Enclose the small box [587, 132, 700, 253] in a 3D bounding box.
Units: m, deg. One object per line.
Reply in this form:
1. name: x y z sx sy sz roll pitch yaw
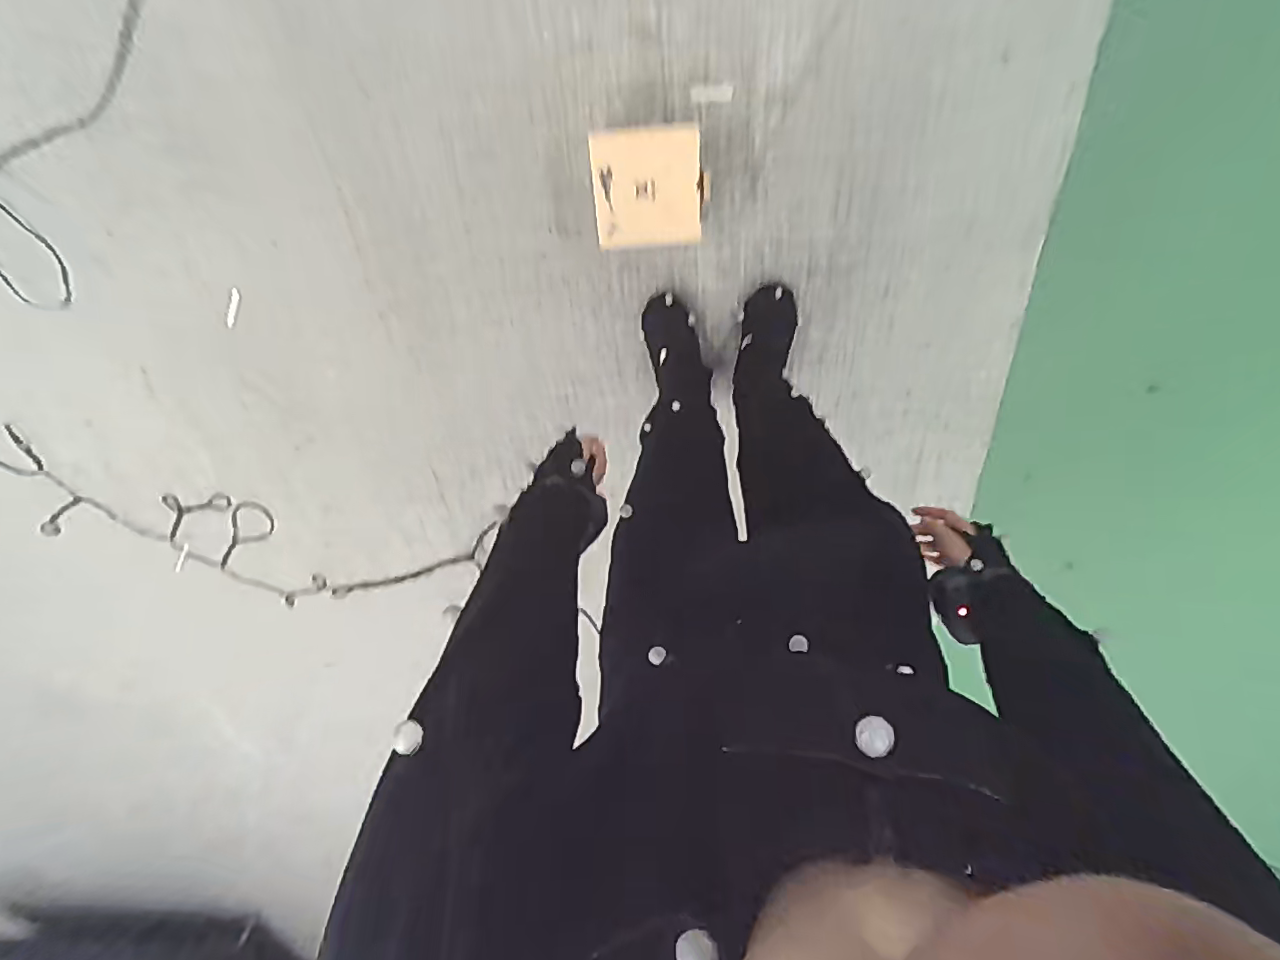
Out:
1. small box: 0.012 -0.503 0.942 0.179 0.176 0.168 -2 123 6
